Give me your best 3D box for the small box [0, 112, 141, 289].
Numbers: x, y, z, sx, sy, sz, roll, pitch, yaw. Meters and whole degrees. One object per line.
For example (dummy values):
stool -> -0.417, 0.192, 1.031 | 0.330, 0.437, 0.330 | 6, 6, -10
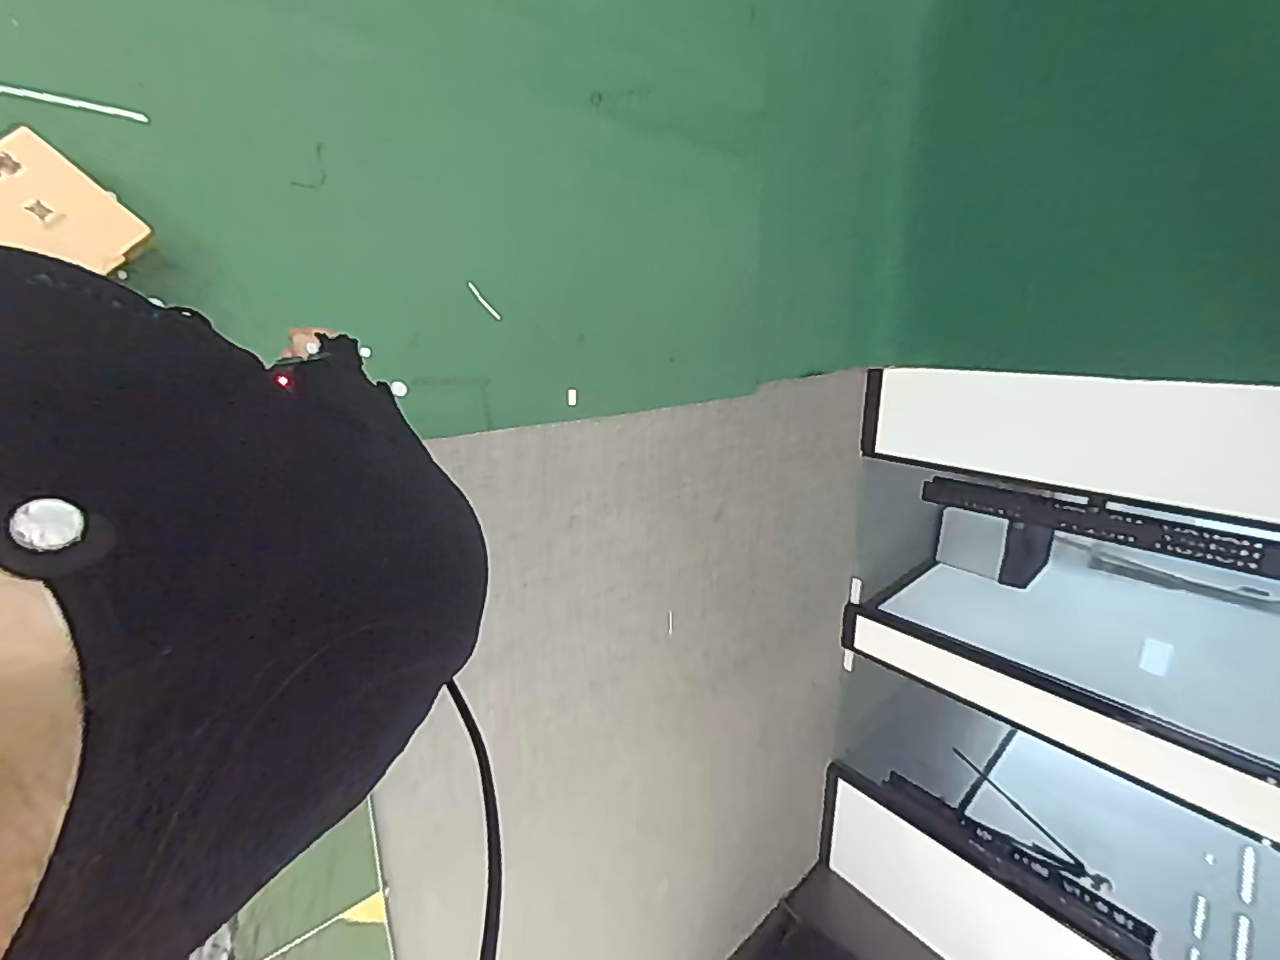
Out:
small box -> -0.932, -0.421, 0.840 | 0.168, 0.176, 0.179 | -54, 132, -16
